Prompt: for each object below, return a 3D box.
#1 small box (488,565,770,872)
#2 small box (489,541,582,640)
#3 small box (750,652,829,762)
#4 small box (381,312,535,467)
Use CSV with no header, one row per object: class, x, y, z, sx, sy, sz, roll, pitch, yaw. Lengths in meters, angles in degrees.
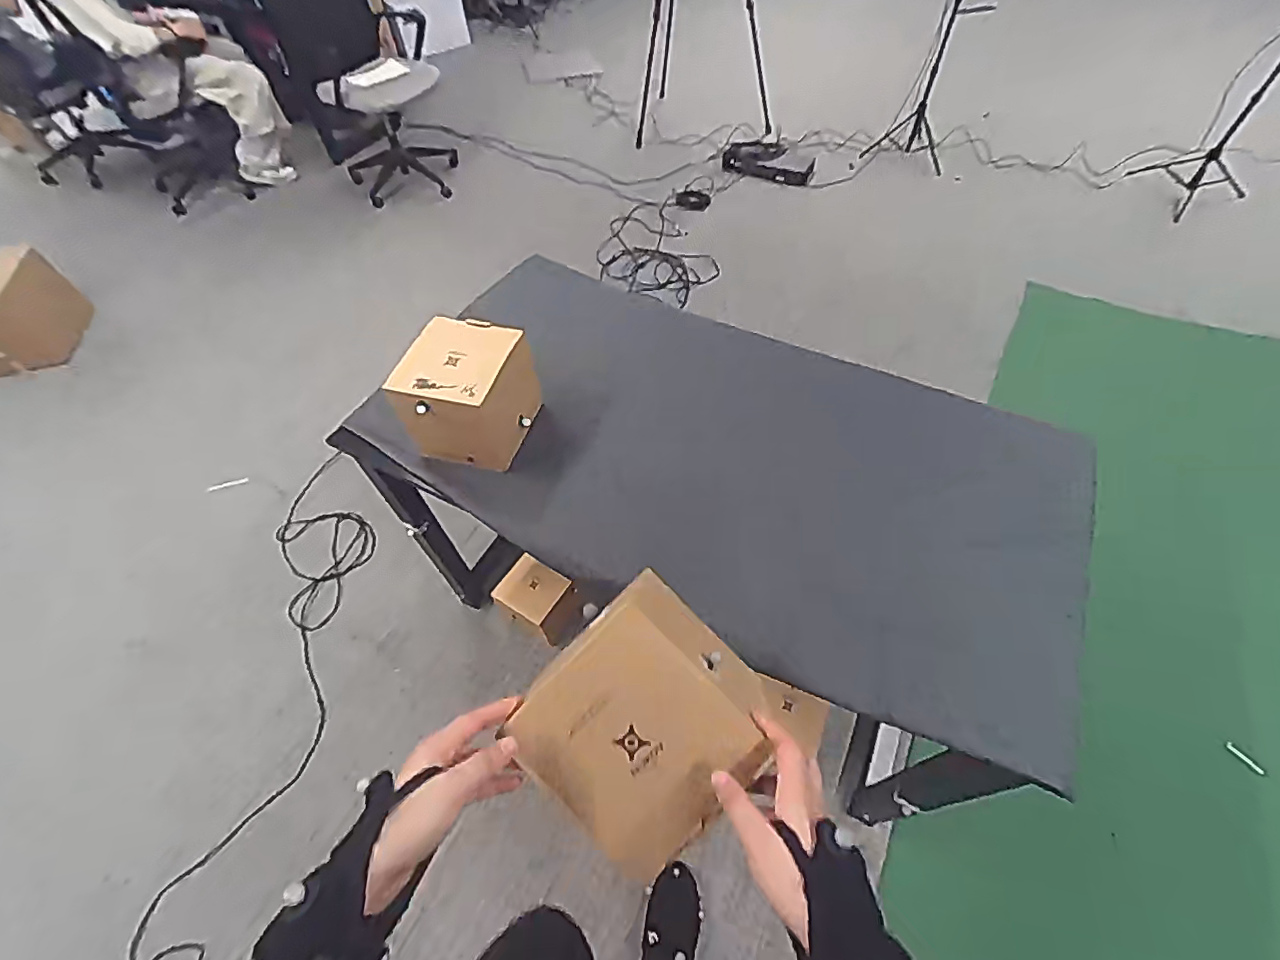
small box,-0.003,0.204,0.519,0.179,0.176,0.168,44,95,4
small box,-0.276,0.306,1.479,0.168,0.176,0.179,26,59,20
small box,0.329,0.542,1.280,0.168,0.176,0.179,19,57,14
small box,-0.288,-0.150,0.906,0.168,0.176,0.179,12,56,11
